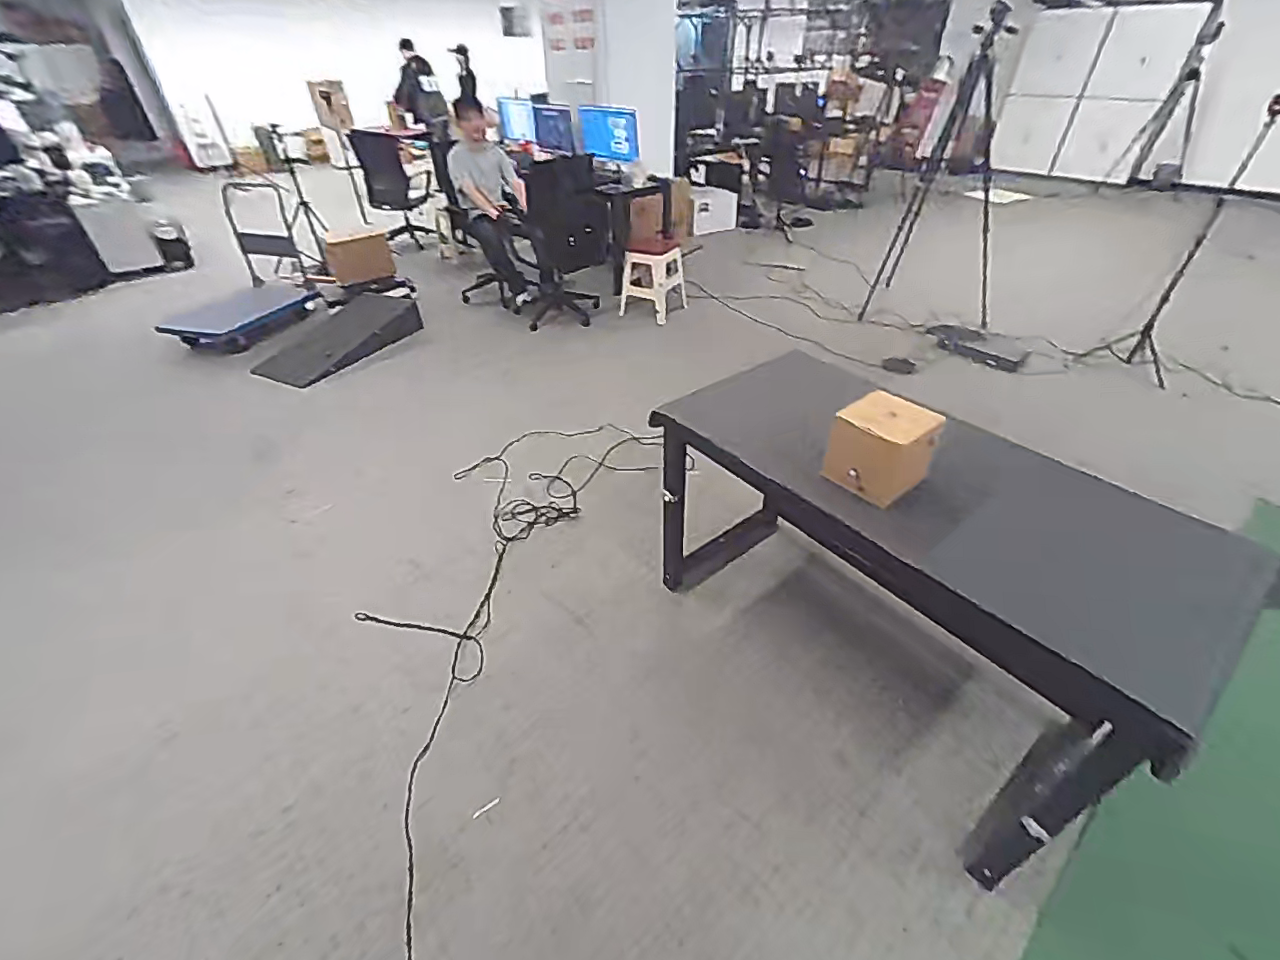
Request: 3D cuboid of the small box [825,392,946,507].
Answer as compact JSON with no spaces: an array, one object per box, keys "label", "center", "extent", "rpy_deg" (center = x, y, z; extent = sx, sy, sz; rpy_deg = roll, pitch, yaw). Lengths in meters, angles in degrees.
[{"label":"small box","center":[0.539,-0.070,1.210],"extent":[0.179,0.176,0.168],"rpy_deg":[-27,44,-29]}]
